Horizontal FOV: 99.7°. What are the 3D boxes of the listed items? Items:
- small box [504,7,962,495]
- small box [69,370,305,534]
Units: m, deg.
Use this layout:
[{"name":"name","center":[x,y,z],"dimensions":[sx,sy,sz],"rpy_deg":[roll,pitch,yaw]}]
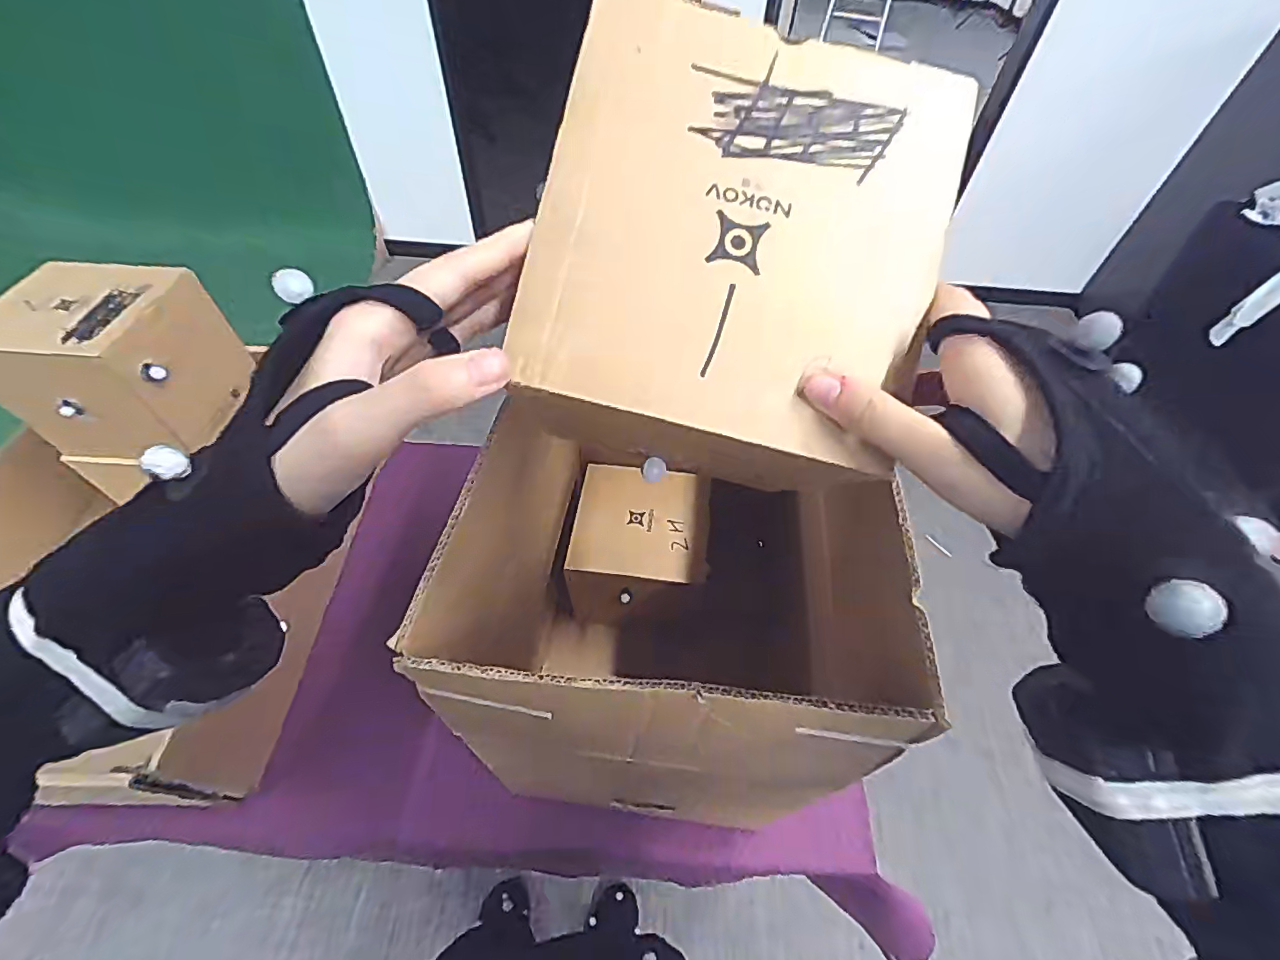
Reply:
[{"name":"small box","center":[0.038,-0.095,0.308],"dimensions":[0.168,0.176,0.179],"rpy_deg":[14,87,-1]},{"name":"small box","center":[-0.634,-0.037,0.790],"dimensions":[0.168,0.176,0.179],"rpy_deg":[4,52,1]}]
